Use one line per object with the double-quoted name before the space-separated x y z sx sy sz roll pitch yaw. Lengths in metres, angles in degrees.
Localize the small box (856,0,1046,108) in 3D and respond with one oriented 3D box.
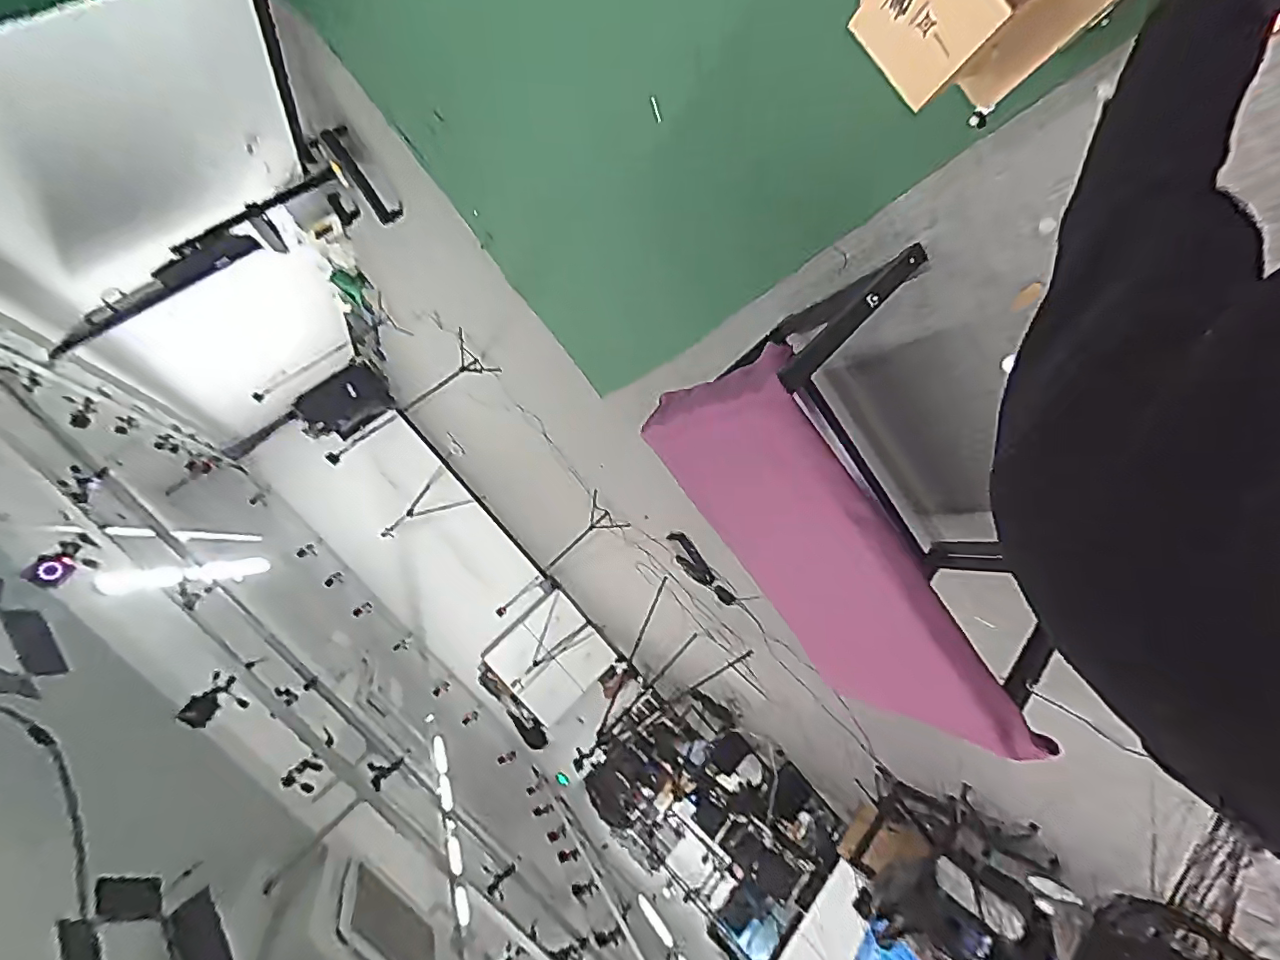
"small box" 0.472 -0.718 0.809 0.179 0.176 0.168 49 159 -4
